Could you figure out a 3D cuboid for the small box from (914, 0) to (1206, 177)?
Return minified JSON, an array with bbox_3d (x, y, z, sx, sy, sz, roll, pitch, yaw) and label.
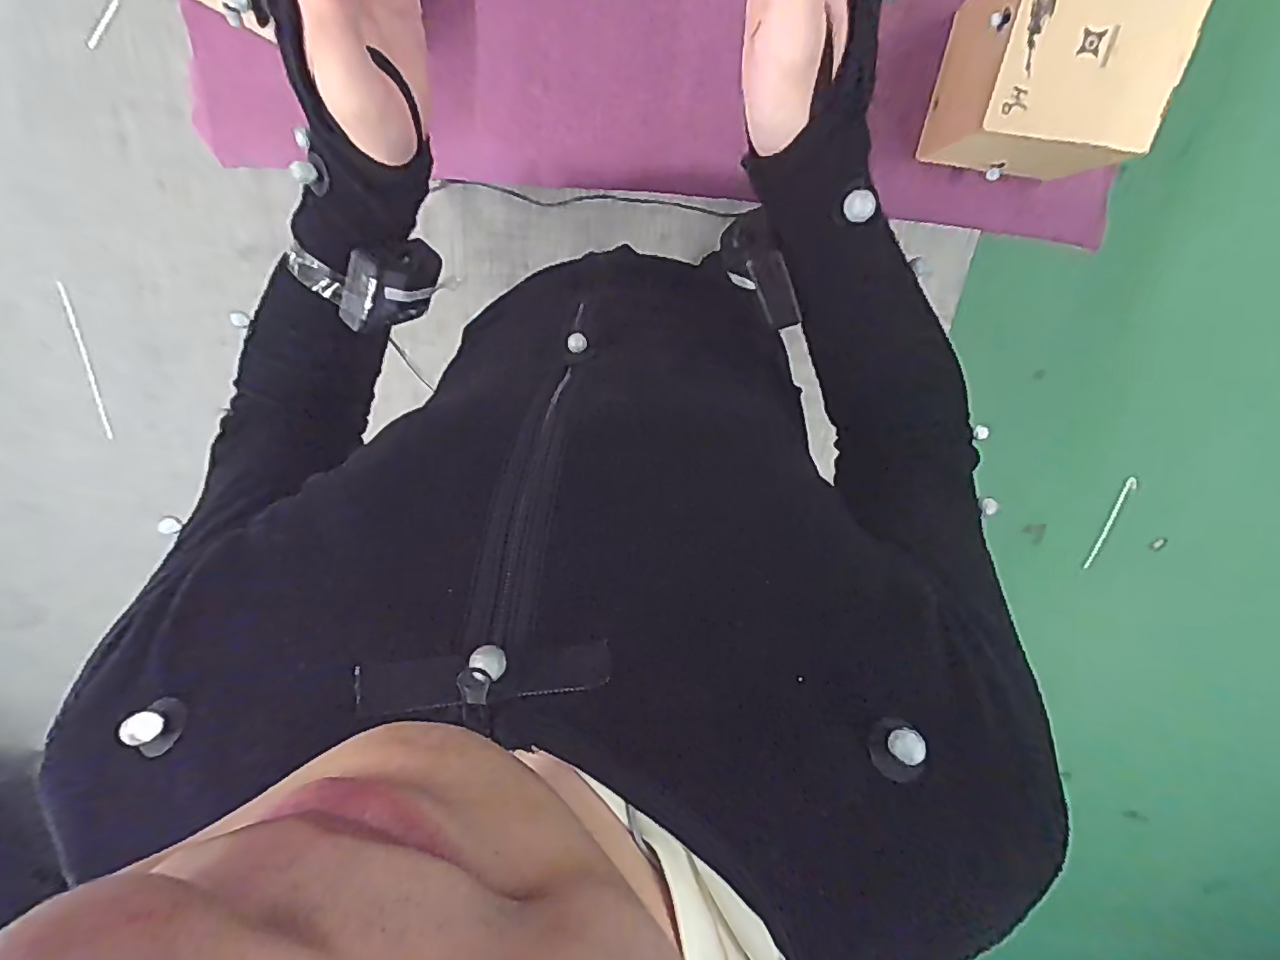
[{"bbox_3d":[0.447,-0.451,0.603,0.179,0.176,0.168,9,111,0],"label":"small box"}]
